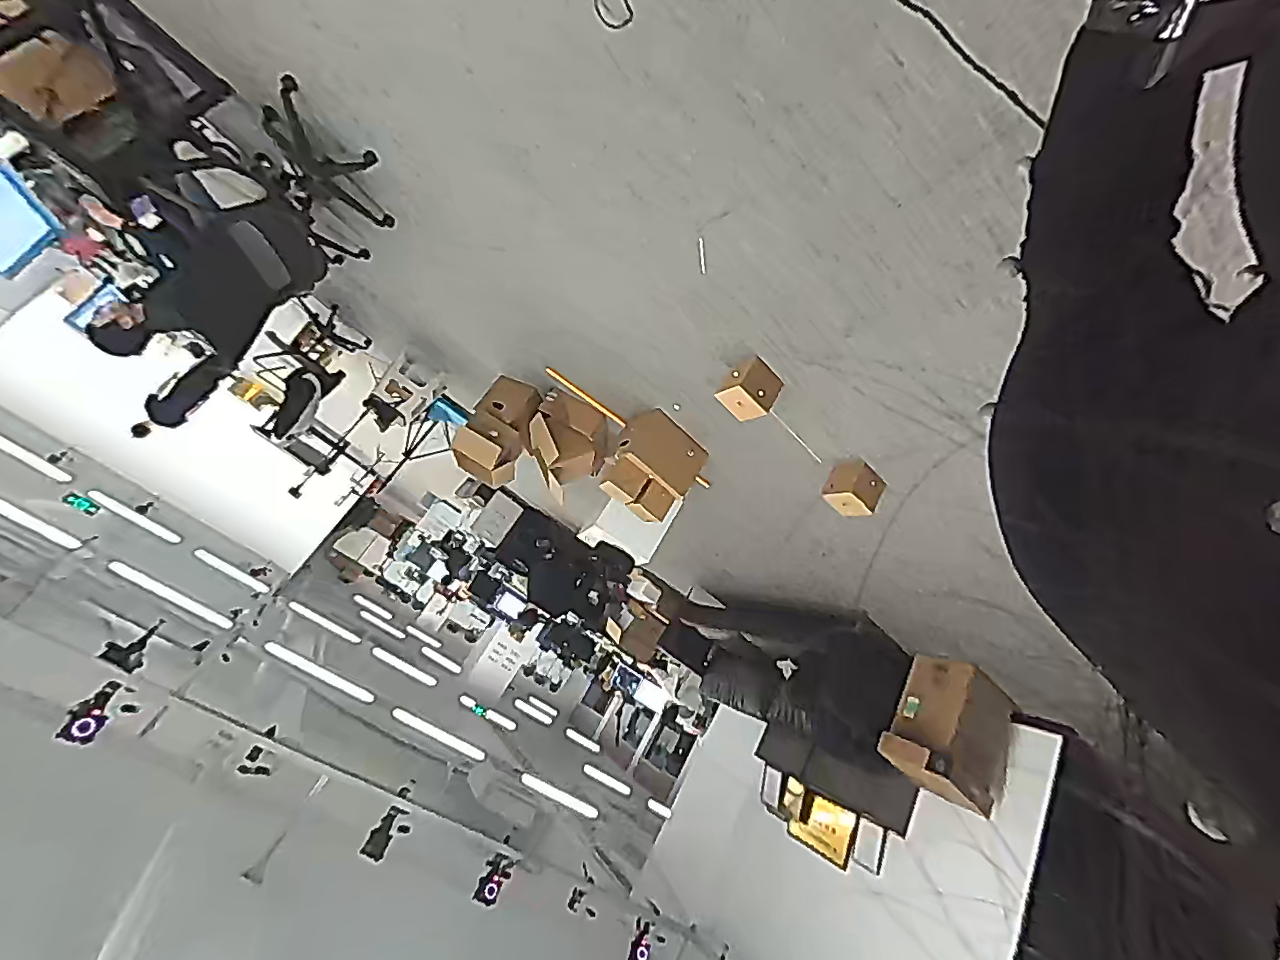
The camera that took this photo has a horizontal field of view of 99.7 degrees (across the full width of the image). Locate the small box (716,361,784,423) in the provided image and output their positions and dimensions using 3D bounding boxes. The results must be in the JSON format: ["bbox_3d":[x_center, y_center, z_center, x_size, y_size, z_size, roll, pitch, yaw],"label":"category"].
[{"bbox_3d":[0.448,-0.361,2.188,0.179,0.176,0.168,39,158,-20],"label":"small box"}]

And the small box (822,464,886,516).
[{"bbox_3d":[0.955,0.046,2.405,0.168,0.176,0.179,39,158,-20],"label":"small box"}]
